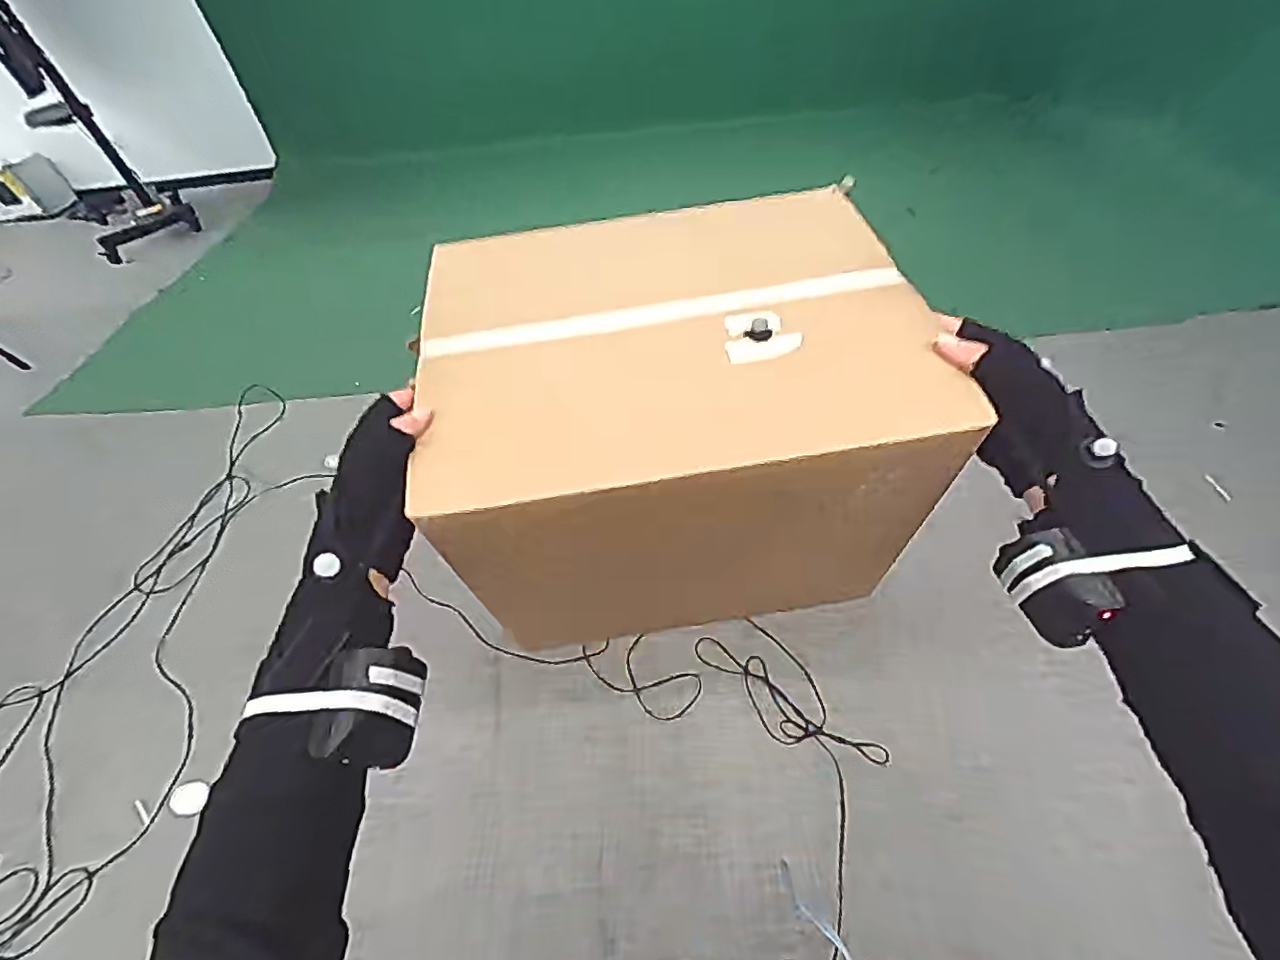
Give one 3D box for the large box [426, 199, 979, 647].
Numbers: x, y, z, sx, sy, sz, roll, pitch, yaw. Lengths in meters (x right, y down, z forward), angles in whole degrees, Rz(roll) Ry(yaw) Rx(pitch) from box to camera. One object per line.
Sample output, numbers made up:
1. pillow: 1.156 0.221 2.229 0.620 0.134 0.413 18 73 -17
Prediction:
1. large box: 0.031 -0.047 0.579 0.408 0.320 0.320 -9 57 -2
